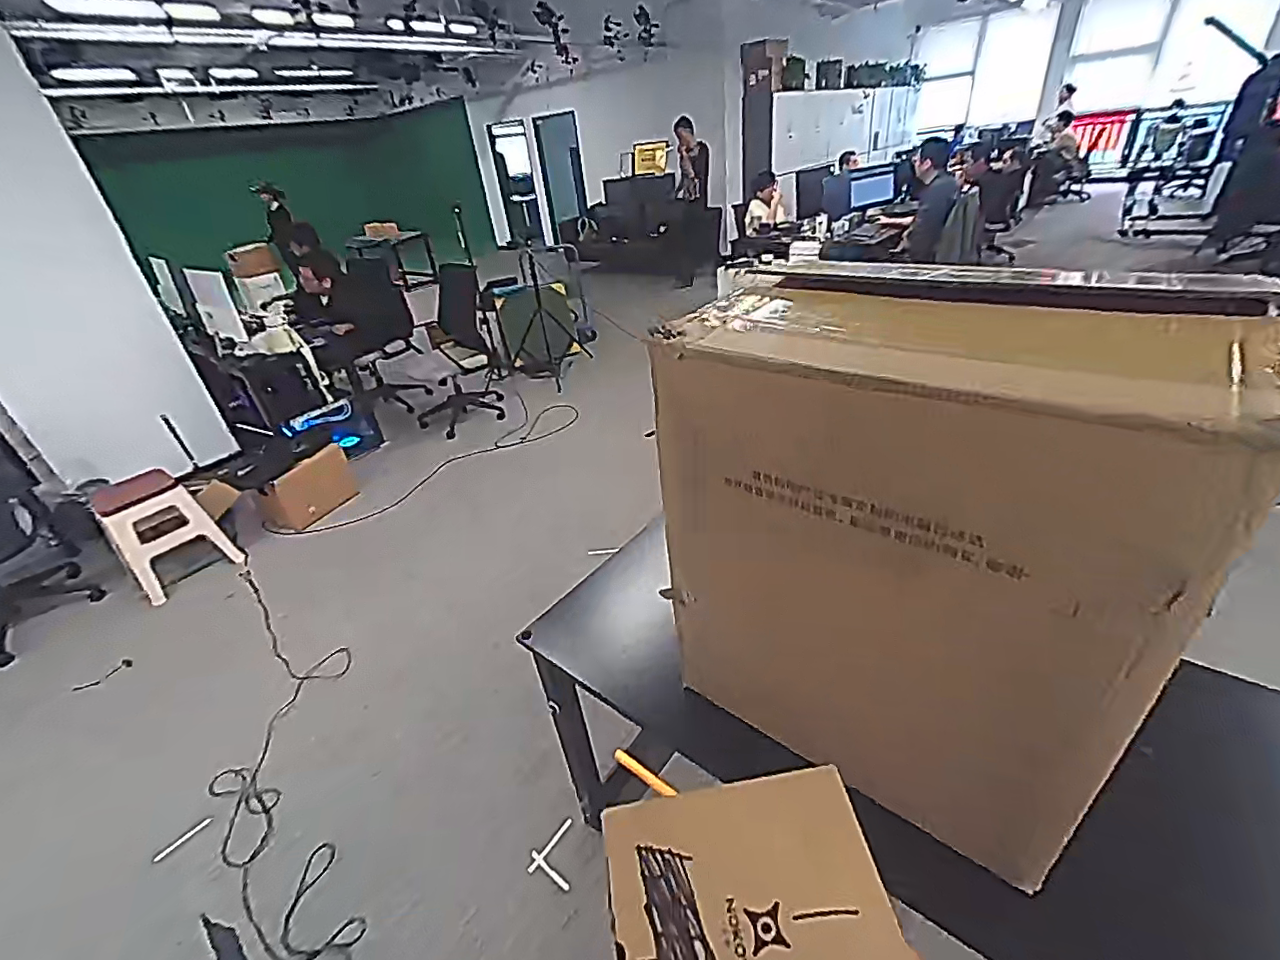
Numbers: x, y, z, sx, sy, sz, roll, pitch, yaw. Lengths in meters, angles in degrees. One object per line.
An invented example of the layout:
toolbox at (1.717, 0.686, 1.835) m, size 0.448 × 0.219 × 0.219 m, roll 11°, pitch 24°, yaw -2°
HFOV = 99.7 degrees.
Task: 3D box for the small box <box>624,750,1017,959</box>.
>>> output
small box at (0.096, 0.287, 0.310) m, size 0.179 × 0.176 × 0.168 m, roll -10°, pitch 42°, yaw -3°
